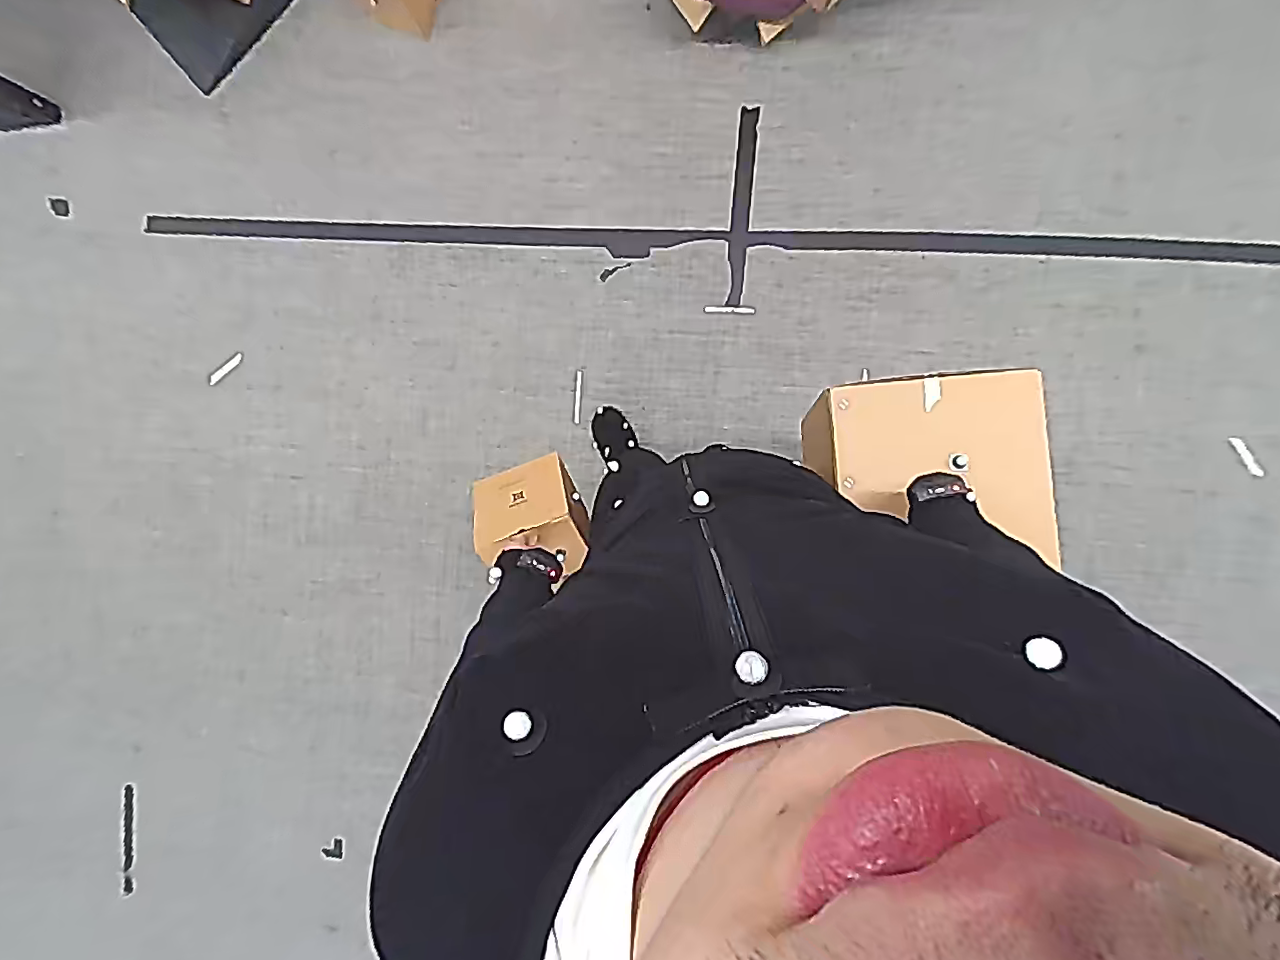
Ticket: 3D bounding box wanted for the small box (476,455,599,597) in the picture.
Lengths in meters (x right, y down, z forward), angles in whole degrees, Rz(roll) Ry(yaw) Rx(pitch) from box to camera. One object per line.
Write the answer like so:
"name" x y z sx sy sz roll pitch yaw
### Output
"small box" -0.184 0.091 0.990 0.168 0.179 0.176 -20 130 1
